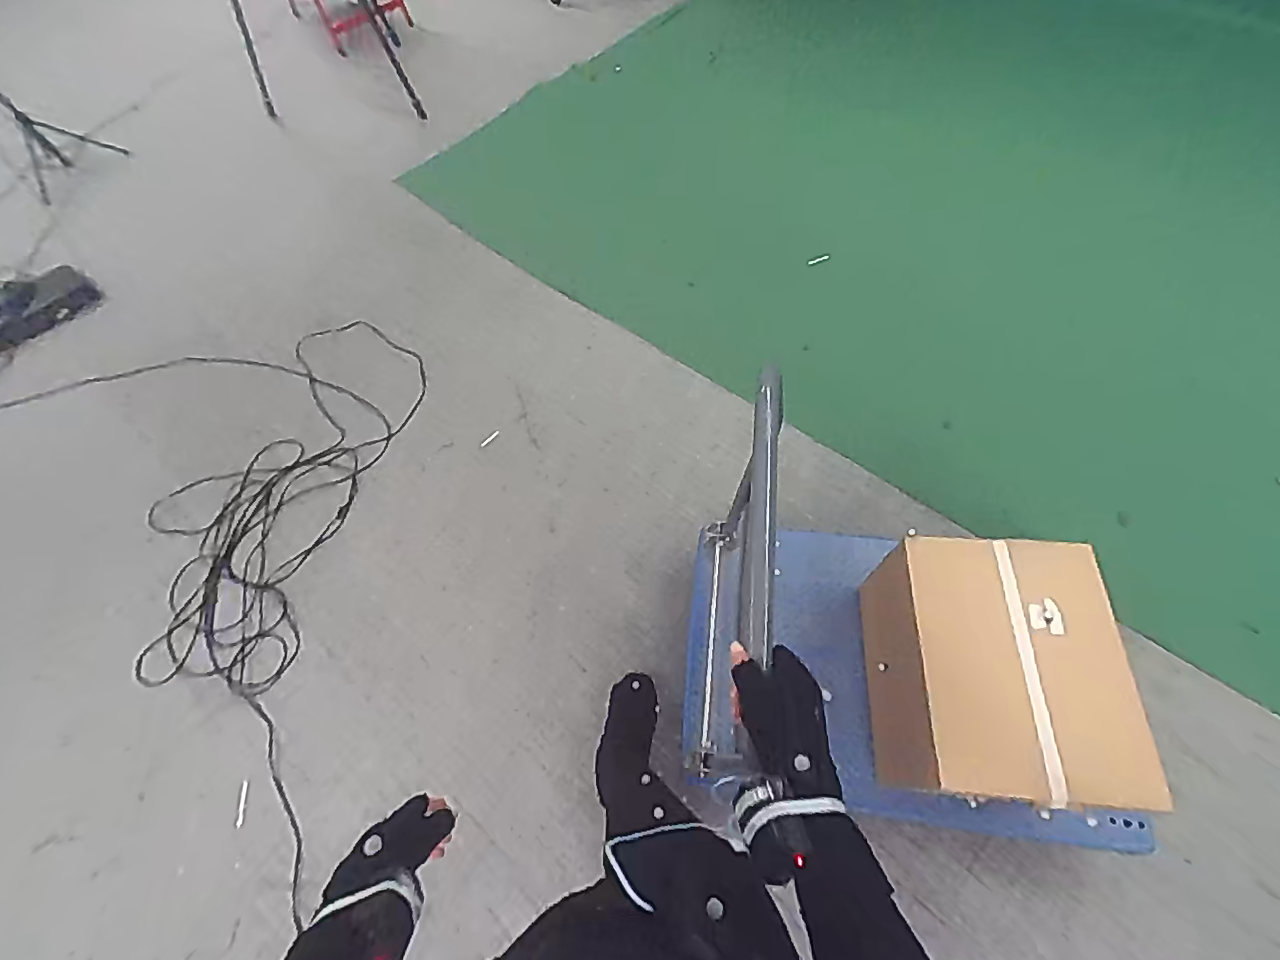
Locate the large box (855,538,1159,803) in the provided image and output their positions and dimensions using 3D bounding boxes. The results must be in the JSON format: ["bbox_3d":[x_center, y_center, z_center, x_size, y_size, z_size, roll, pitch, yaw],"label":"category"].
[{"bbox_3d":[0.615,0.358,1.006,0.320,0.320,0.408,3,60,6],"label":"large box"}]
